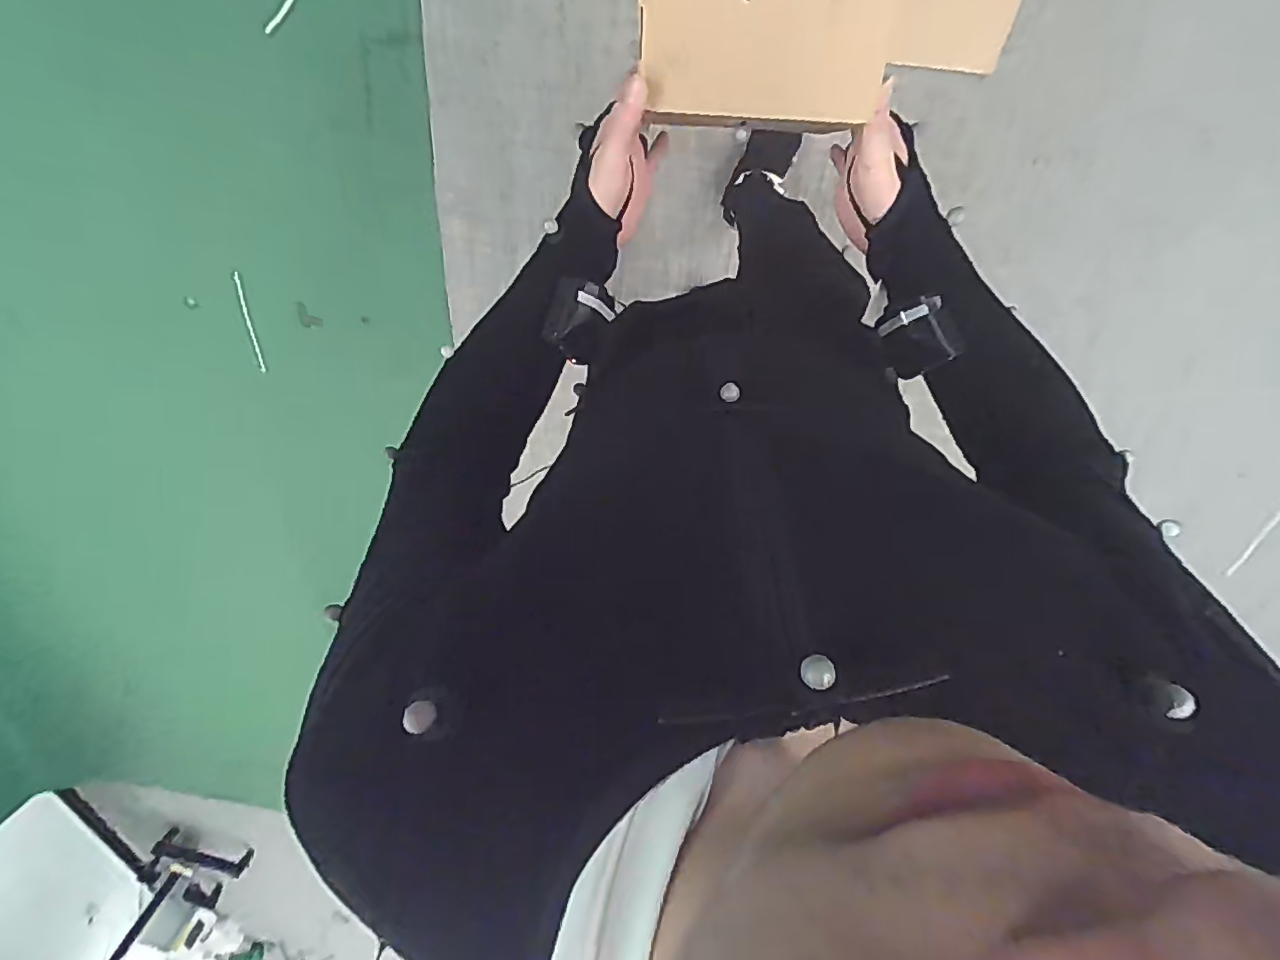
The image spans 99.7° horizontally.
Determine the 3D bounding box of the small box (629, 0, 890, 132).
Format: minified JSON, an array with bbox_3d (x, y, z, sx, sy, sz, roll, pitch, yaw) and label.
[{"bbox_3d":[0.093,-0.382,0.430,0.179,0.176,0.168,6,121,4],"label":"small box"}]
